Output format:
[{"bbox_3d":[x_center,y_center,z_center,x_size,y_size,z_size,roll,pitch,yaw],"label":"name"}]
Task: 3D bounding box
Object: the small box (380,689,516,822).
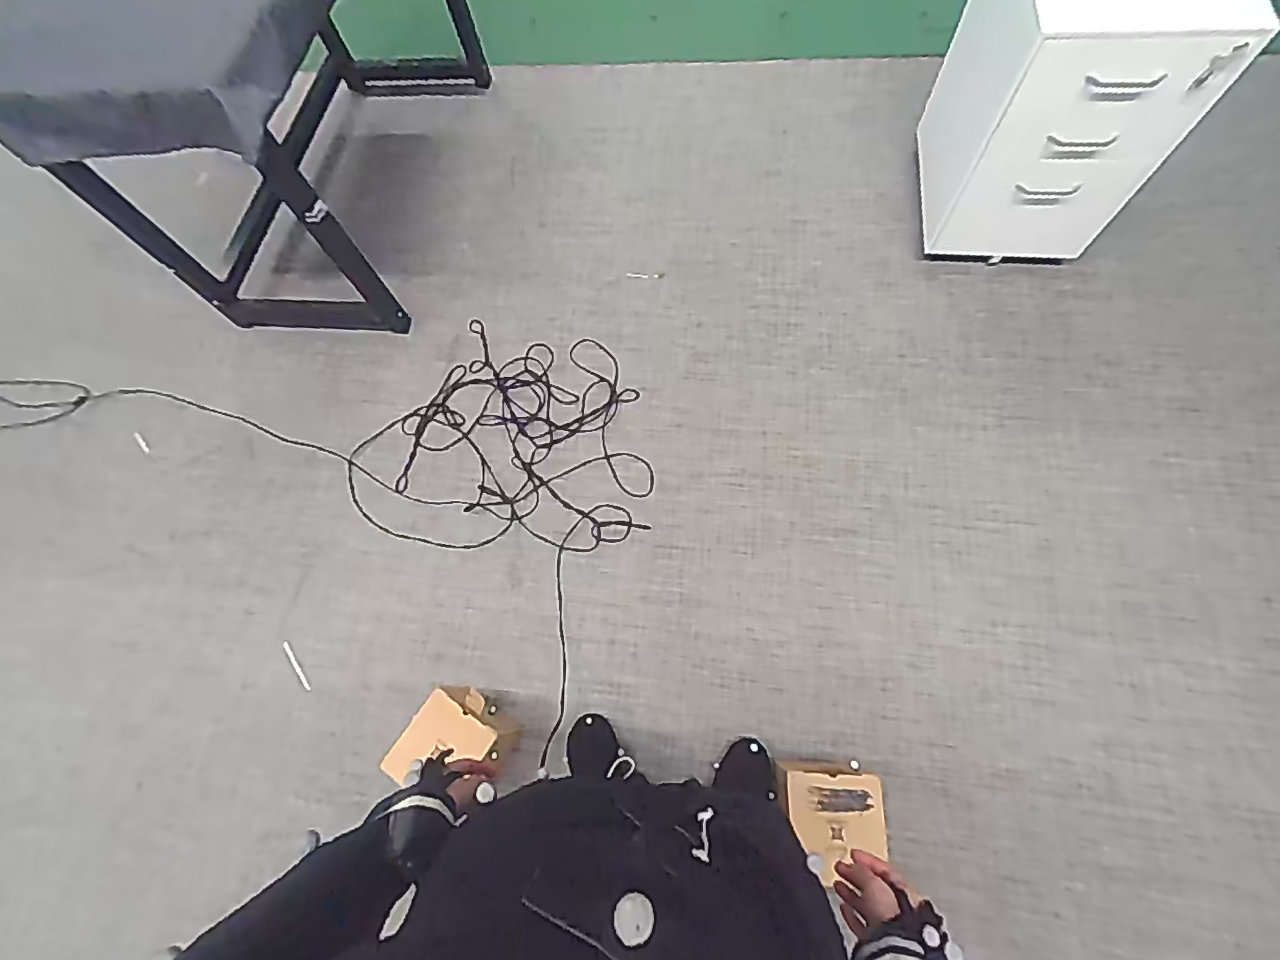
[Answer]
[{"bbox_3d":[-0.384,0.558,1.116,0.168,0.176,0.179,30,73,16],"label":"small box"}]
